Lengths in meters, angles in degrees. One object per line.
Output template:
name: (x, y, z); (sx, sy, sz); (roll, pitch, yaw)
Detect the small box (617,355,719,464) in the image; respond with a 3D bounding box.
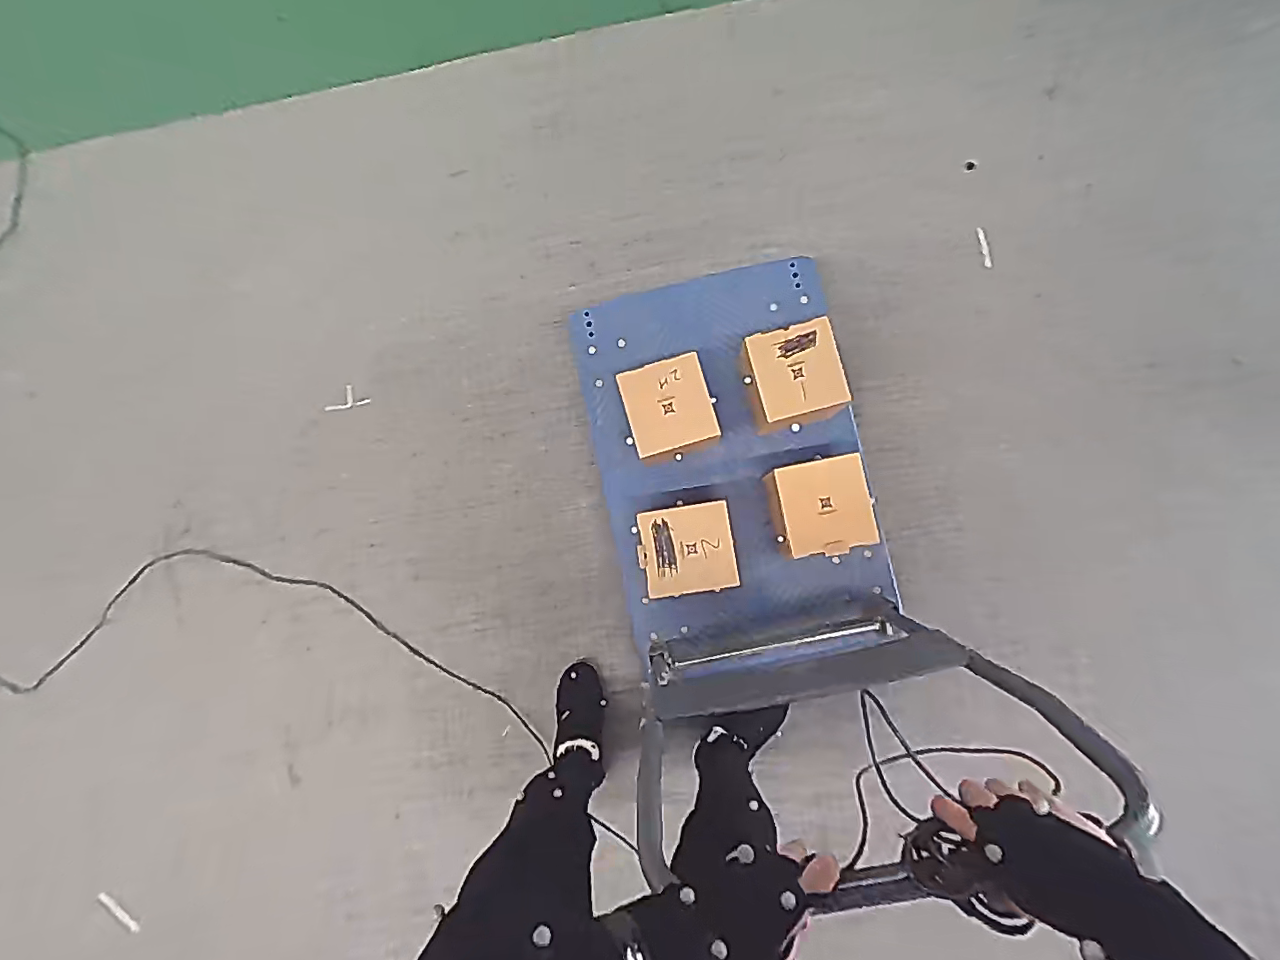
small box: (0.060, -0.136, 1.125); (0.168, 0.176, 0.179); (-15, 85, 2)

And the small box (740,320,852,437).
small box: (0.309, -0.200, 1.112); (0.168, 0.176, 0.179); (-14, 86, 4)

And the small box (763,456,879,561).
small box: (0.354, 0.060, 1.091); (0.168, 0.176, 0.179); (-11, 85, 3)
